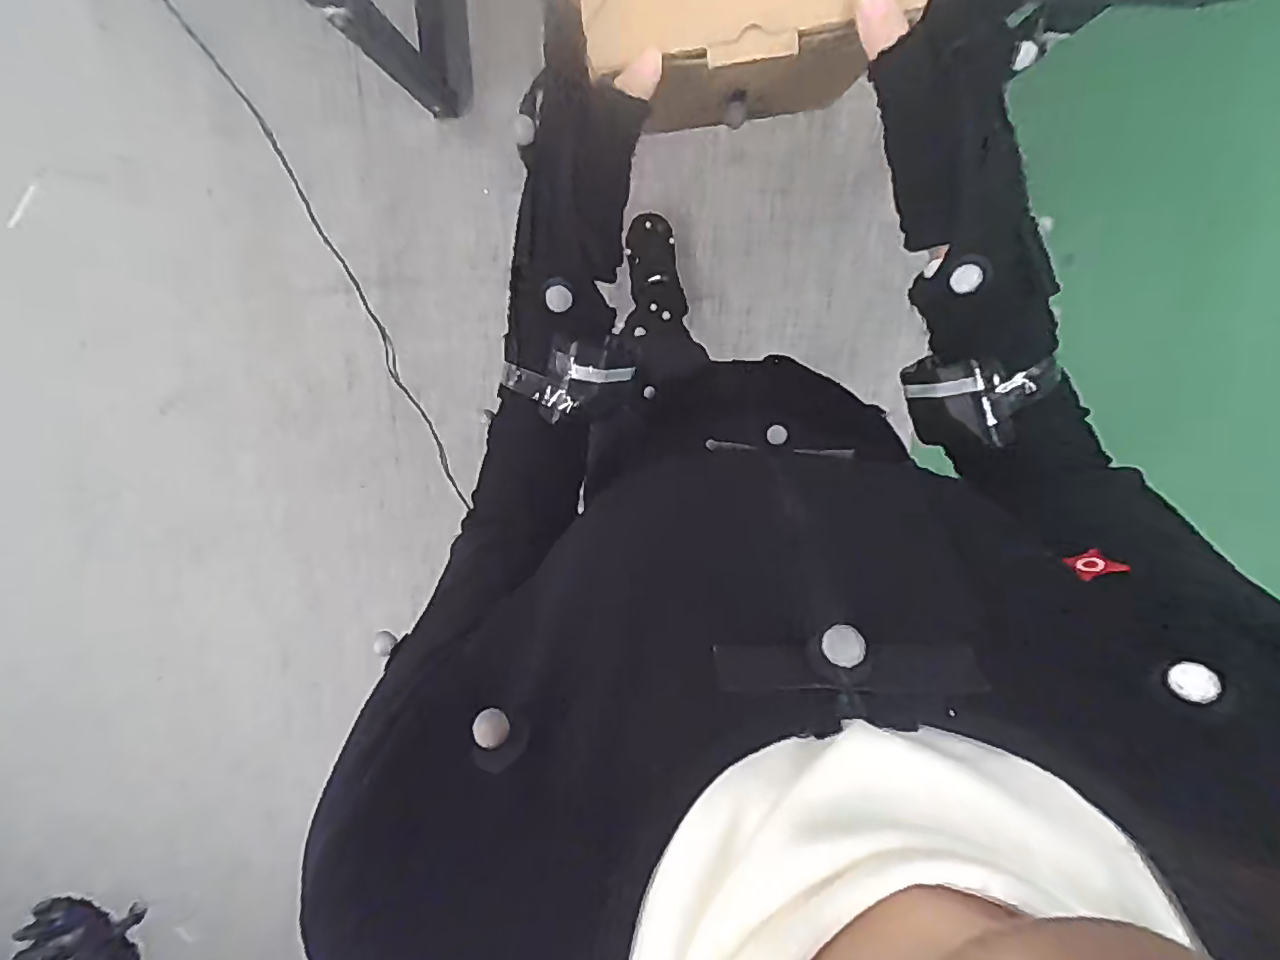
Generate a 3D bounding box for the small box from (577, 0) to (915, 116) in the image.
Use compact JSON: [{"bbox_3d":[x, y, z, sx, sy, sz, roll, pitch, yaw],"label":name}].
[{"bbox_3d":[0.048,-0.328,0.306,0.168,0.176,0.179,-5,113,6],"label":"small box"}]
